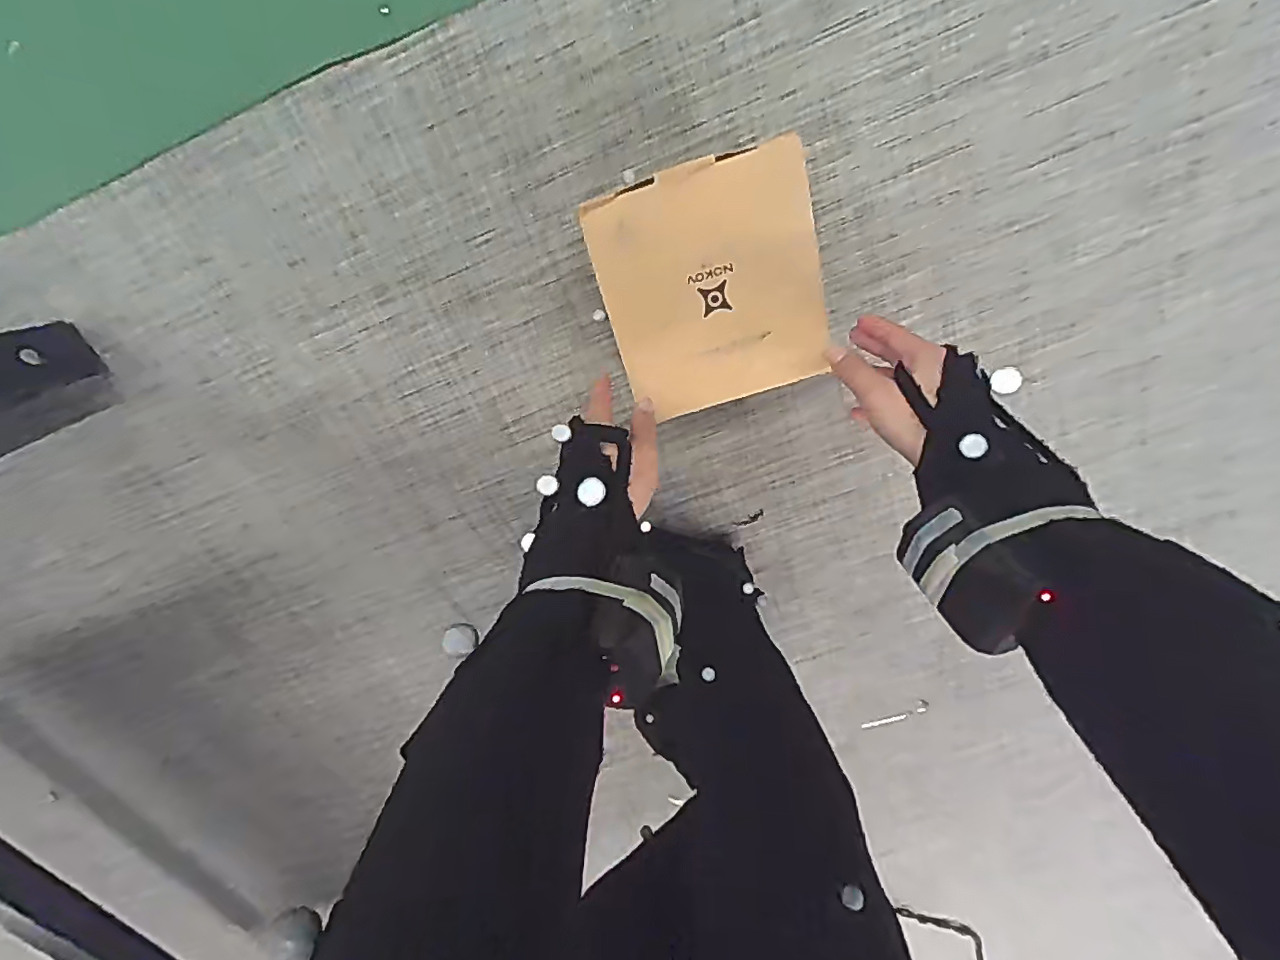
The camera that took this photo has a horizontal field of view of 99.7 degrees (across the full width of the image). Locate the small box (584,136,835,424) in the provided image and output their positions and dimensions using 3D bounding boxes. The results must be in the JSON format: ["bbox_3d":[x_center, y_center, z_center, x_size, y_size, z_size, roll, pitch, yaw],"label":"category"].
[{"bbox_3d":[0.056,-0.176,0.488,0.168,0.176,0.179,-16,115,6],"label":"small box"}]
